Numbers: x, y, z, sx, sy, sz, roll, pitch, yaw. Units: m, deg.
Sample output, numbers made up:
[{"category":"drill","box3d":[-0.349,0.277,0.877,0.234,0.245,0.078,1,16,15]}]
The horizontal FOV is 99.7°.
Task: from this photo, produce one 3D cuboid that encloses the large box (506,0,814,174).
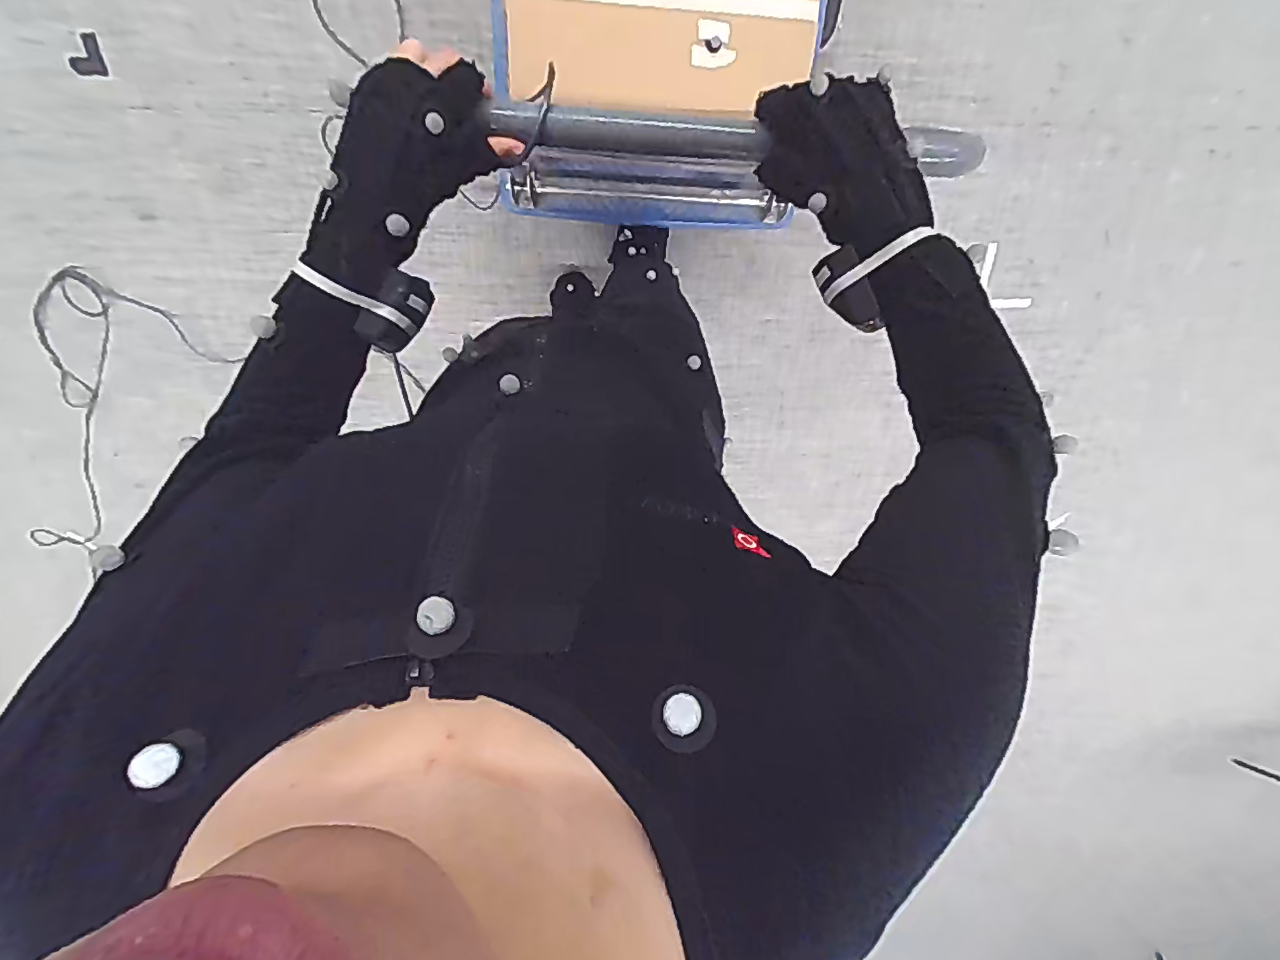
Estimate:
[{"category":"large box","box3d":[0.016,-0.668,0.827,0.408,0.320,0.320,1,115,-5]}]
